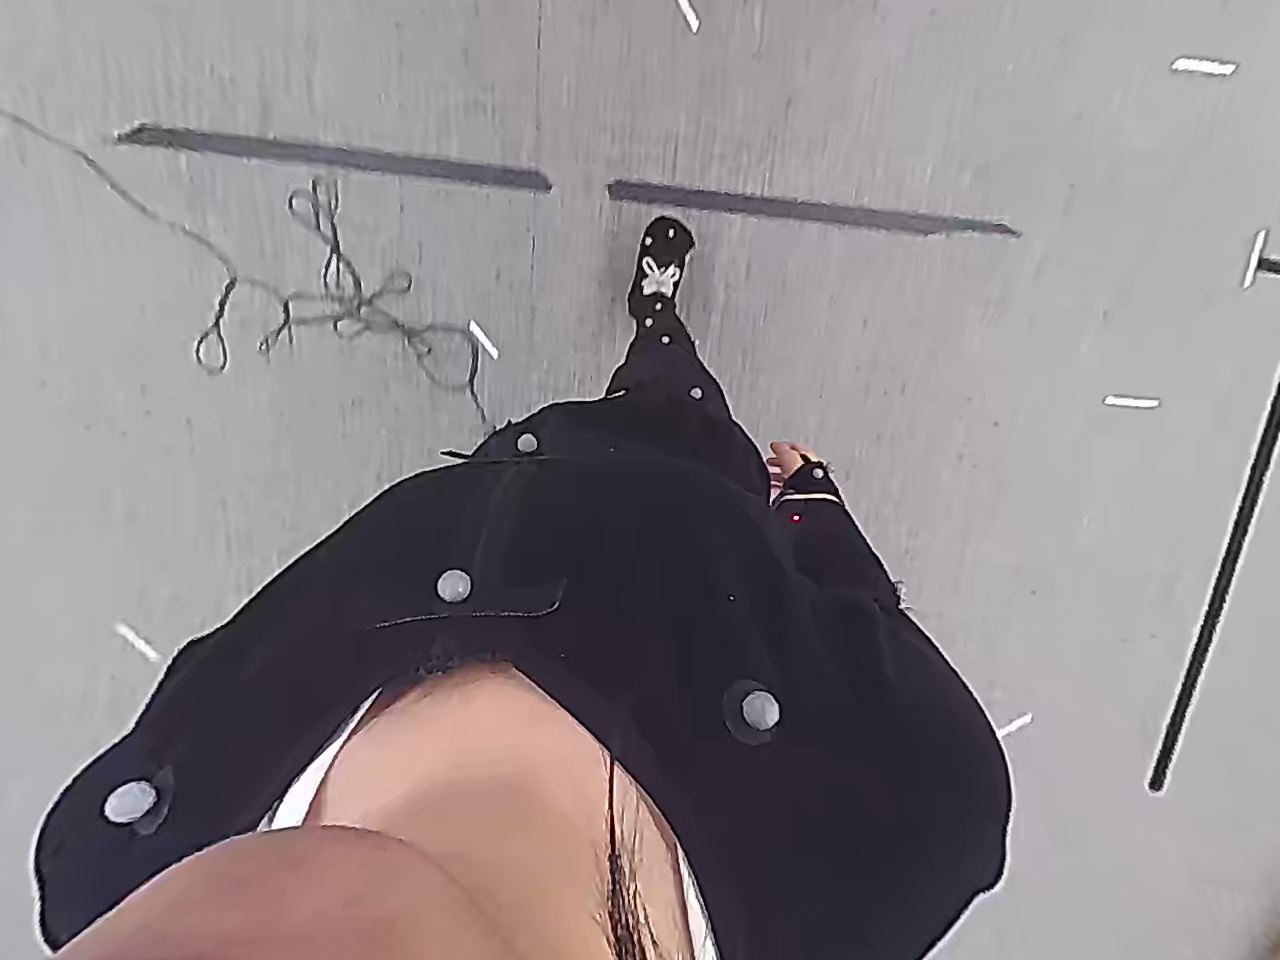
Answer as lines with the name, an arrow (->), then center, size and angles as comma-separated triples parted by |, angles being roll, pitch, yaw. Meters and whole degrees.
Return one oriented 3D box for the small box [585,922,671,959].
small box -> -0.032, 0.967, 0.996 | 0.168, 0.176, 0.179 | 9, 102, -3
